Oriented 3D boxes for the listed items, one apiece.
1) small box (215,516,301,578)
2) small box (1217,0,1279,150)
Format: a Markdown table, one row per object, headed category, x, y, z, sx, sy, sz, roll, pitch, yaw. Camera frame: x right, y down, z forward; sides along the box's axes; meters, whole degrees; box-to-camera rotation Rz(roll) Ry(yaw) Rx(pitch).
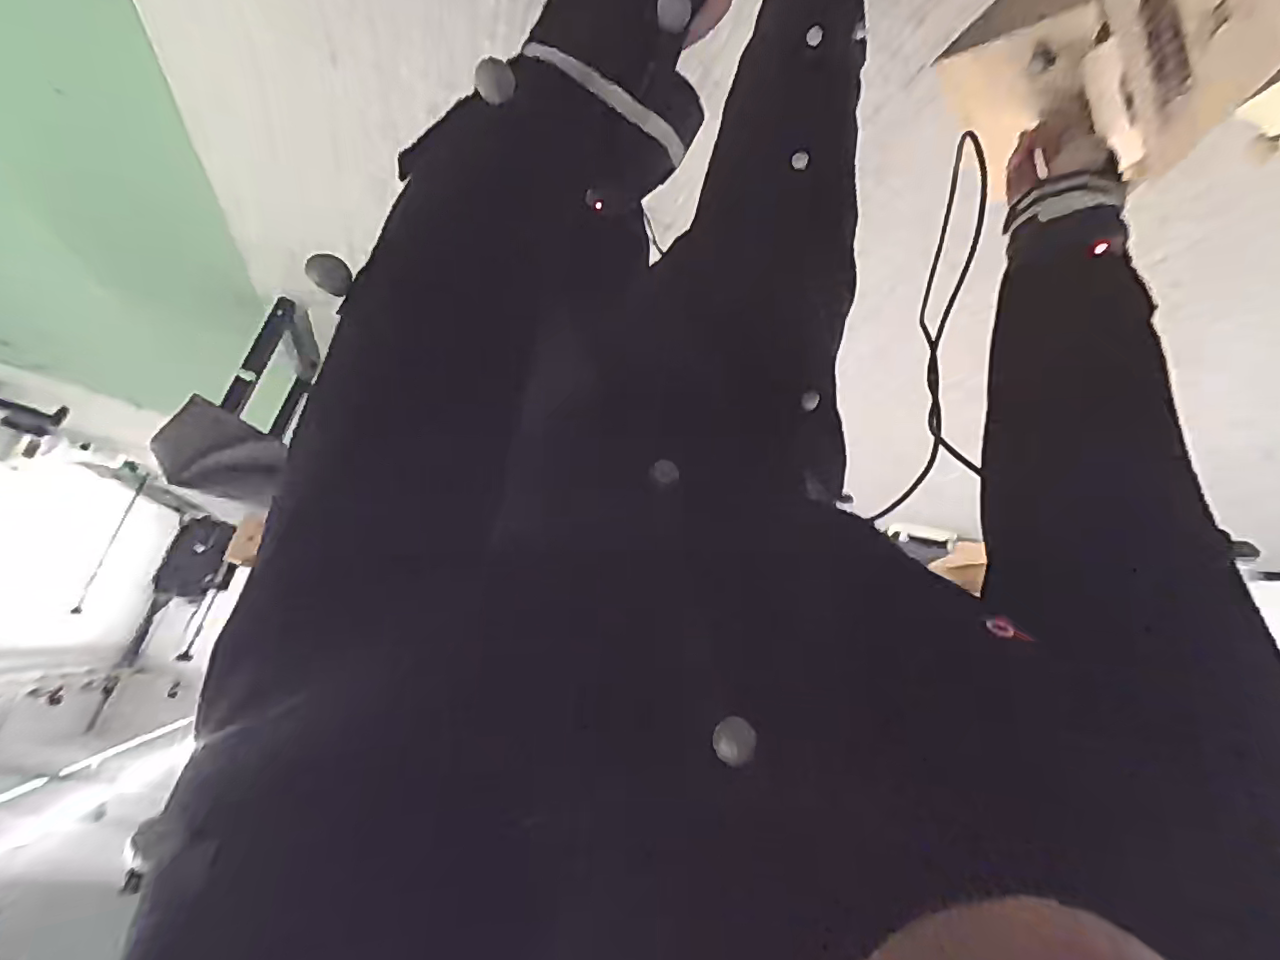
| category | x | y | z | sx | sy | sz | roll | pitch | yaw |
| --- | --- | --- | --- | --- | --- | --- | --- | --- | --- |
| small box | -1.329 | 0.234 | 1.894 | 0.168 | 0.176 | 0.179 | 18 | 160 | -11 |
| small box | 0.858 | -0.532 | 0.646 | 0.168 | 0.176 | 0.179 | 19 | 159 | -17 |
